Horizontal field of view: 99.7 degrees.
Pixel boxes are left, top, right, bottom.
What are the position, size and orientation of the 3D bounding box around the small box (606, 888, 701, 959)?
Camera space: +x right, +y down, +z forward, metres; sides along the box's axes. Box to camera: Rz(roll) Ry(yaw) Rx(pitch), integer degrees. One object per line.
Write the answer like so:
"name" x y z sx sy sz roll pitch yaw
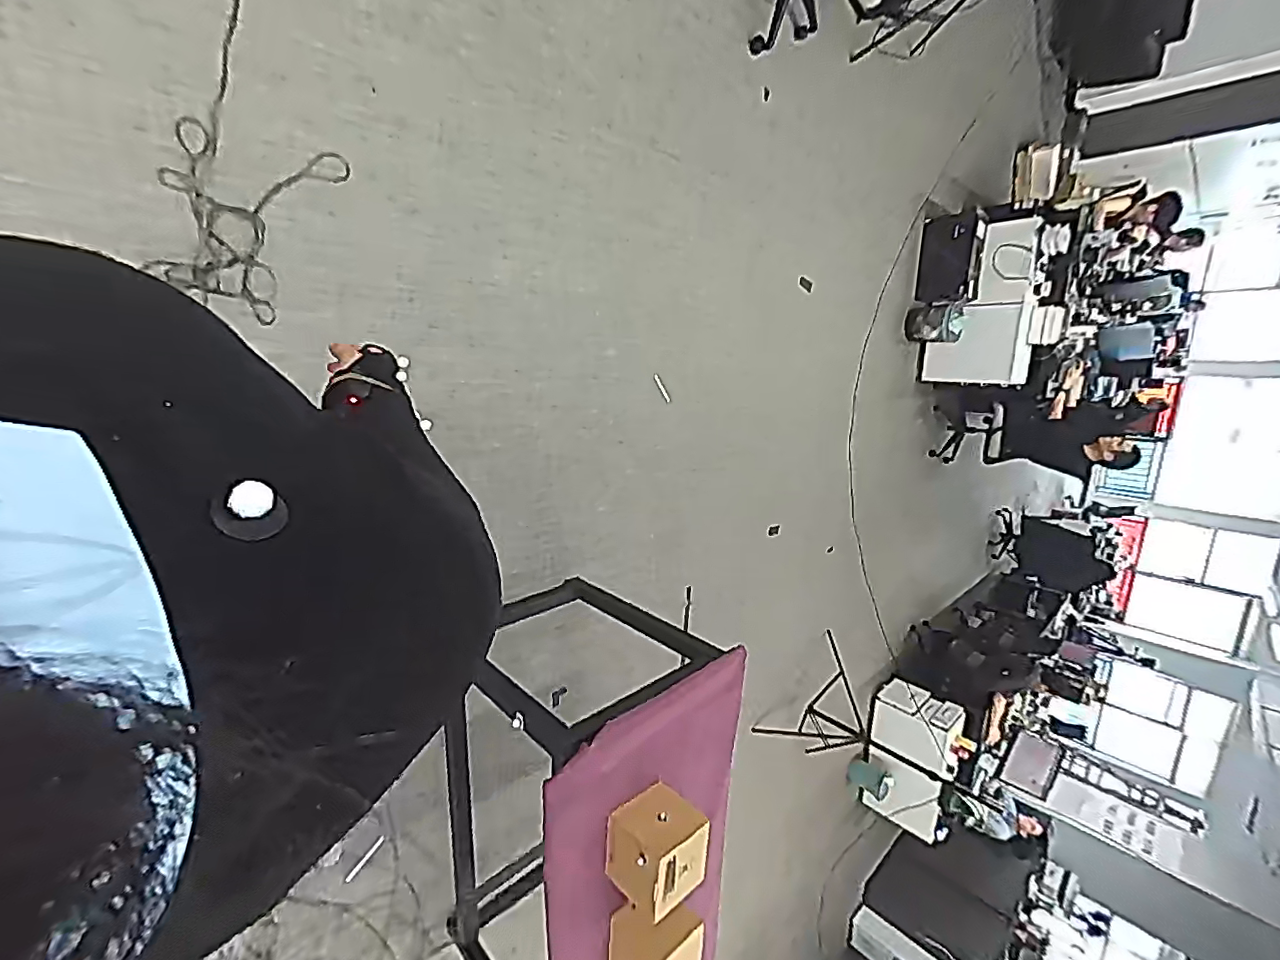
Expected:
"small box" 0.030 1.171 1.345 0.168 0.176 0.179 -6 104 -43
